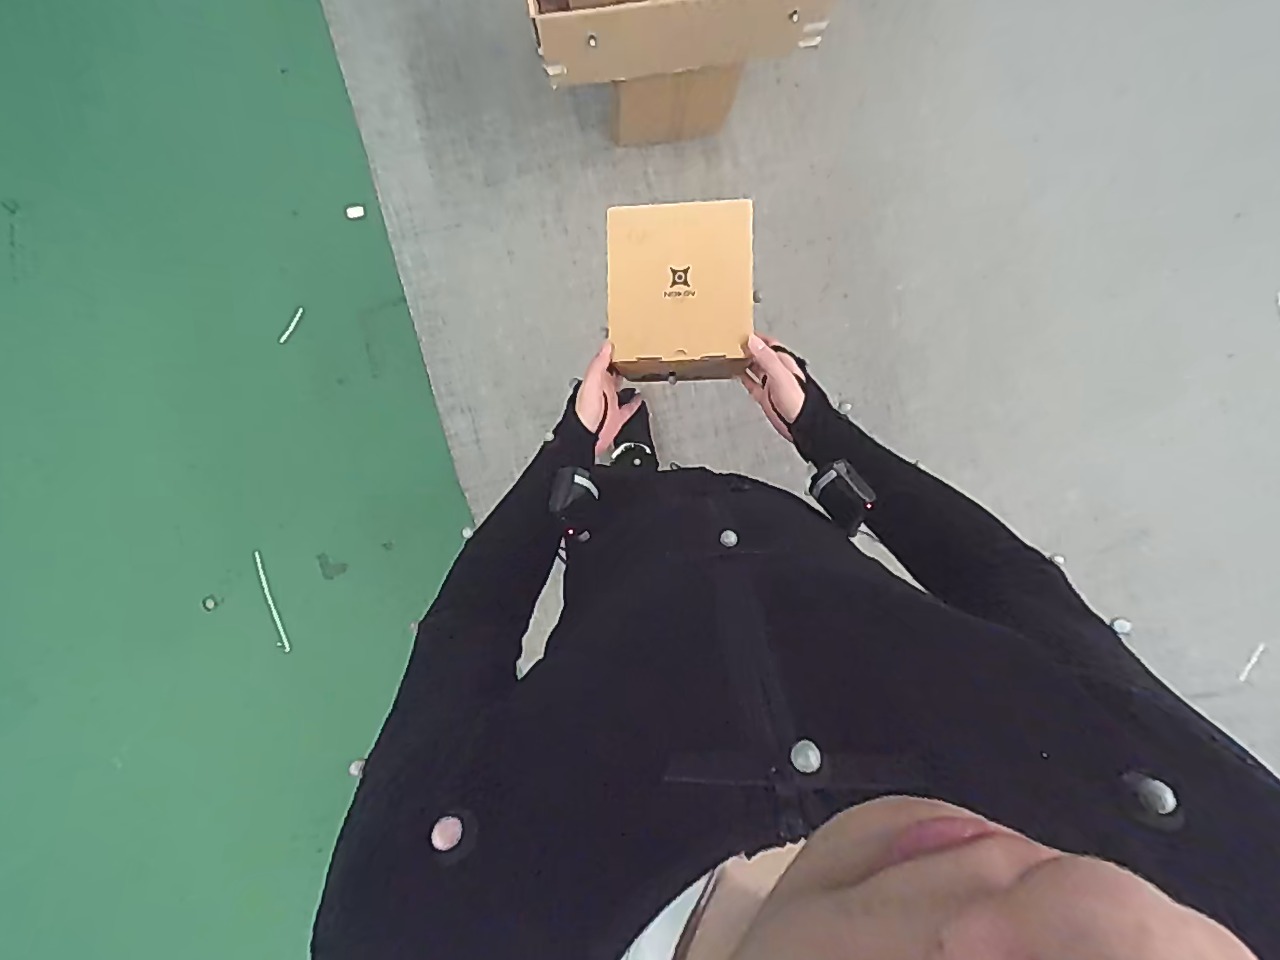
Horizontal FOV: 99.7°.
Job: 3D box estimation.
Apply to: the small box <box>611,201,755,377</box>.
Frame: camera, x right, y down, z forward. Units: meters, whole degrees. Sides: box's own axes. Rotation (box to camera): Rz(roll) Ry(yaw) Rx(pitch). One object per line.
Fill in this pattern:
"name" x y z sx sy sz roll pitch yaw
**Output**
"small box" 0.052 -0.230 0.691 0.168 0.176 0.179 -1 95 4
